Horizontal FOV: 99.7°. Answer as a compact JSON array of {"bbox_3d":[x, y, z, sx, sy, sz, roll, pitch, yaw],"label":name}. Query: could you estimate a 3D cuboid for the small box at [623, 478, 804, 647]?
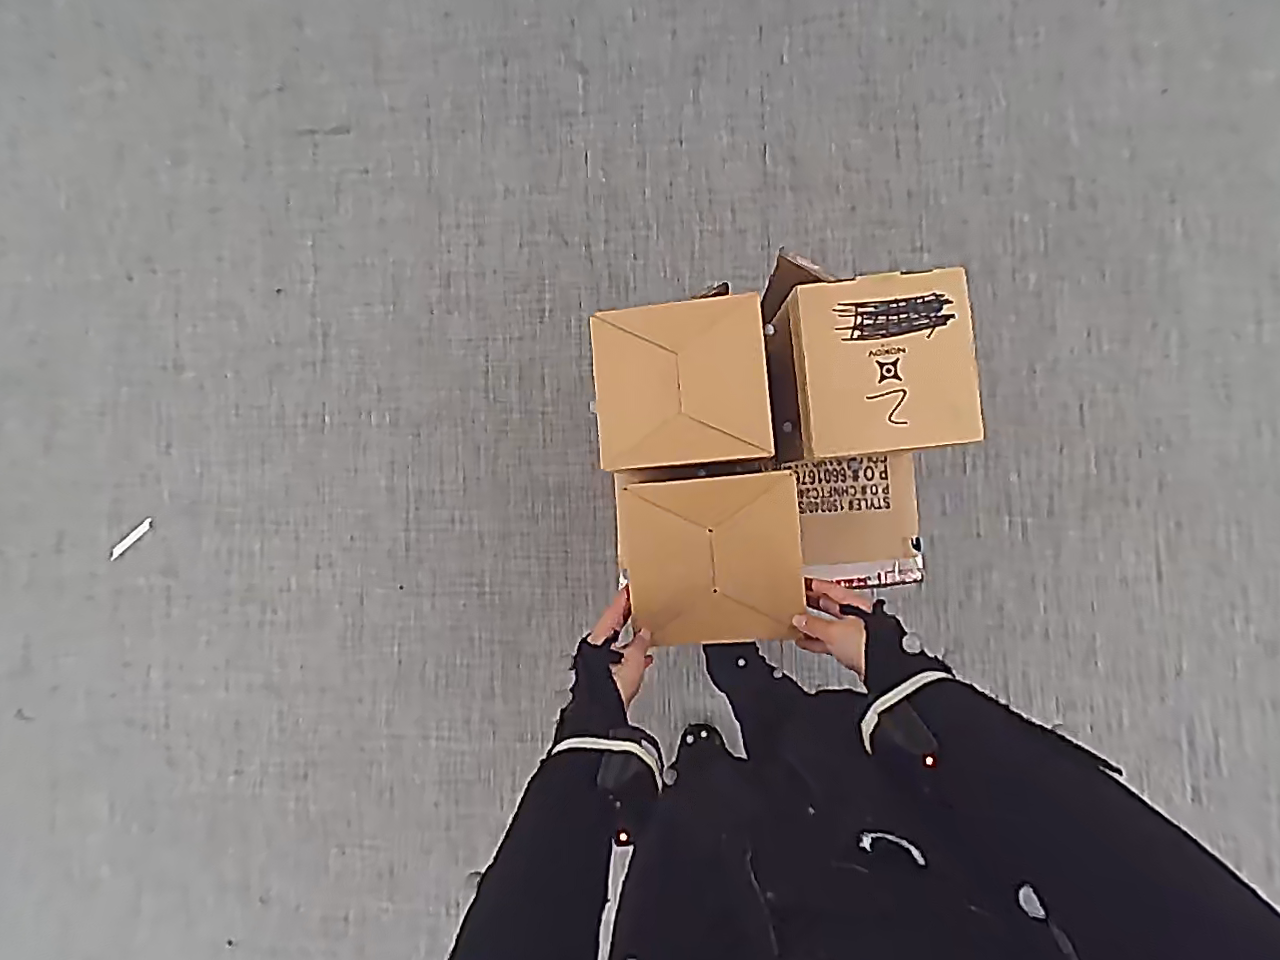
[{"bbox_3d":[0.078,0.087,0.626,0.179,0.176,0.168,-5,89,5],"label":"small box"}]
